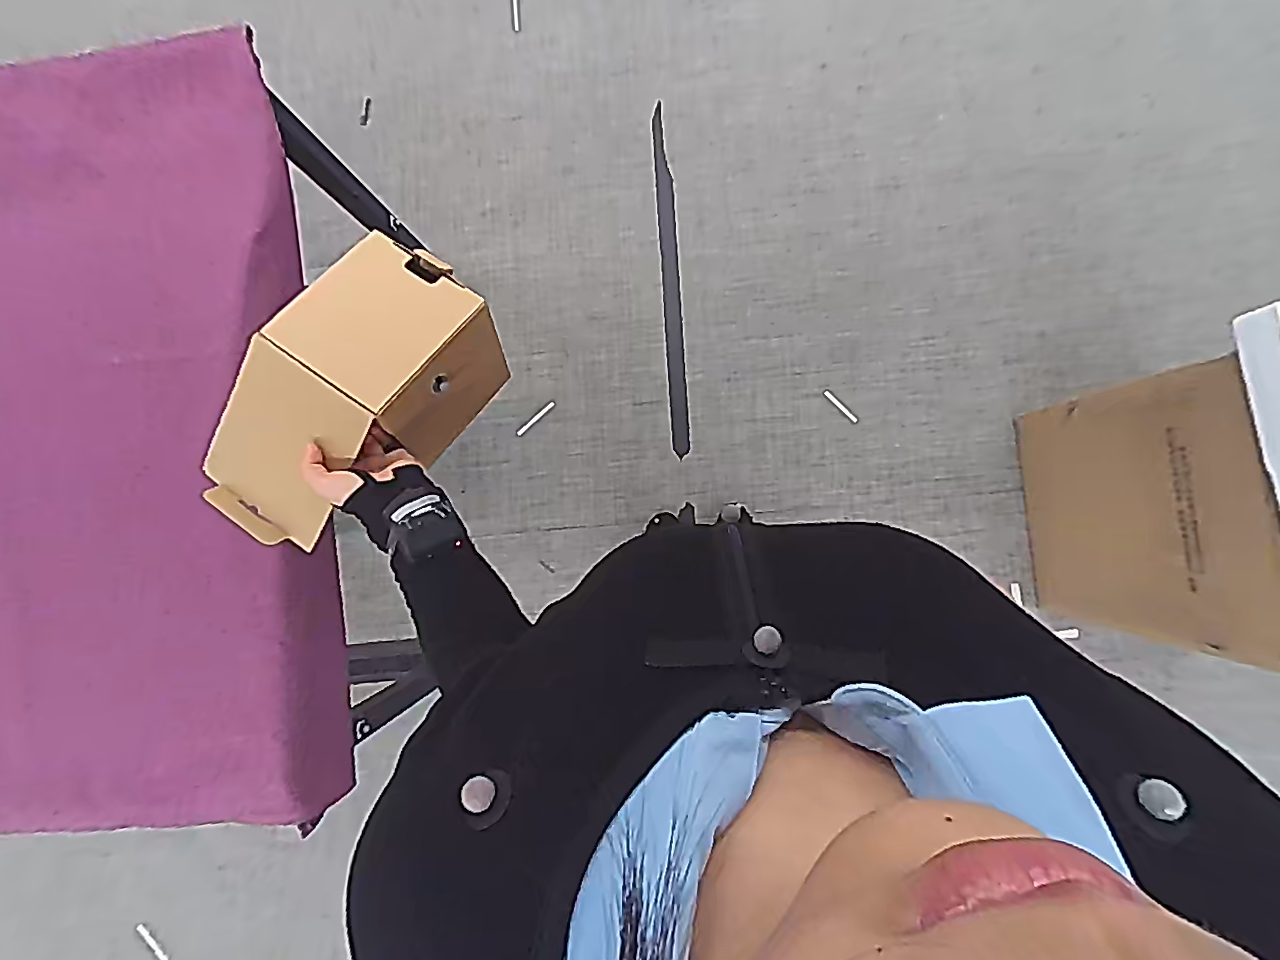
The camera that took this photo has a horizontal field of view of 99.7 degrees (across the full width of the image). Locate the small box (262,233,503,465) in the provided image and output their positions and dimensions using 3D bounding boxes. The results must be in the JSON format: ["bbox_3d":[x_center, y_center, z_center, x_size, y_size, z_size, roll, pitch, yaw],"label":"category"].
[{"bbox_3d":[-0.288,-0.147,0.655,0.168,0.176,0.179,35,71,8],"label":"small box"}]
